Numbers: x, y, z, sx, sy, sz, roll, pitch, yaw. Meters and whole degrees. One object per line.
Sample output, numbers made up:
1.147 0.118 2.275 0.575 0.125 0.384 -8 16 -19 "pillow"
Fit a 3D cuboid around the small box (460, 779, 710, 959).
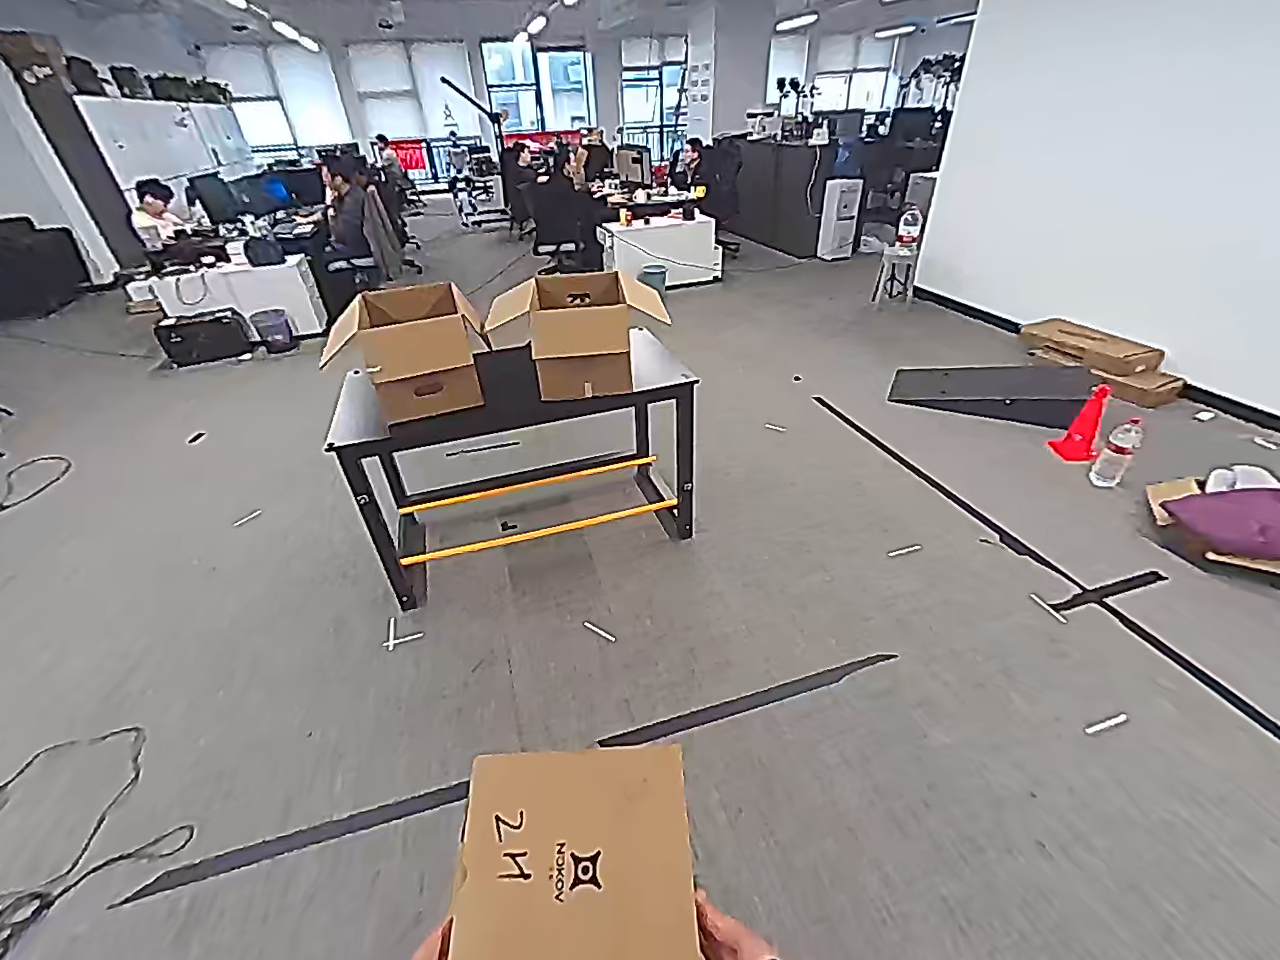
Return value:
-0.039 0.364 0.455 0.179 0.176 0.168 -3 48 0 "small box"
